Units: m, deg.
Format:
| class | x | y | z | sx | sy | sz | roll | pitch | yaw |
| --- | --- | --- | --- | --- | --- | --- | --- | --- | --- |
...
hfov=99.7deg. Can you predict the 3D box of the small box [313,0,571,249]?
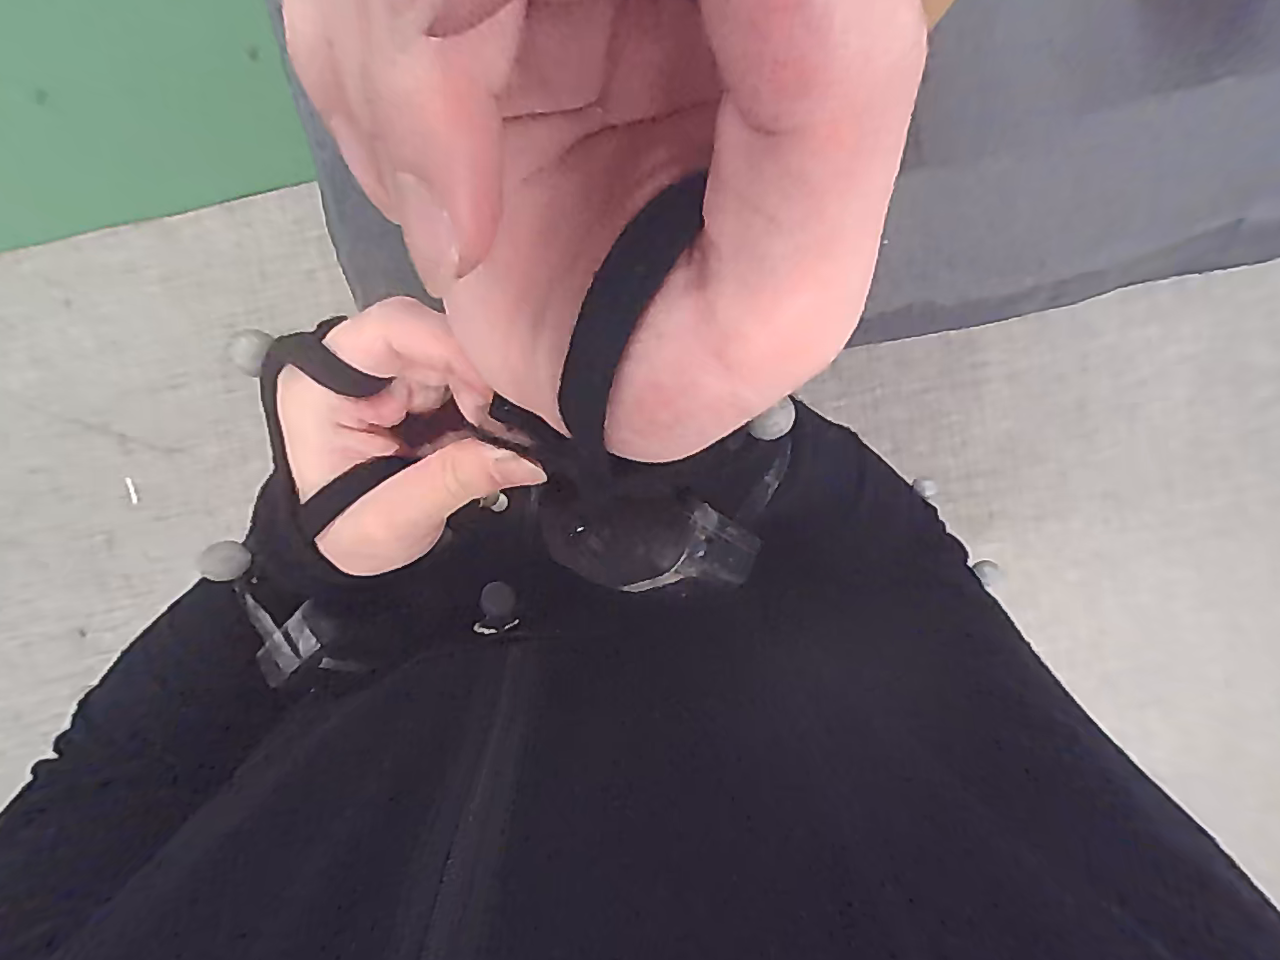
| class | x | y | z | sx | sy | sz | roll | pitch | yaw |
| --- | --- | --- | --- | --- | --- | --- | --- | --- | --- |
| small box | -0.172 | -0.354 | 0.522 | 0.168 | 0.176 | 0.179 | -15 | 96 | 0 |
